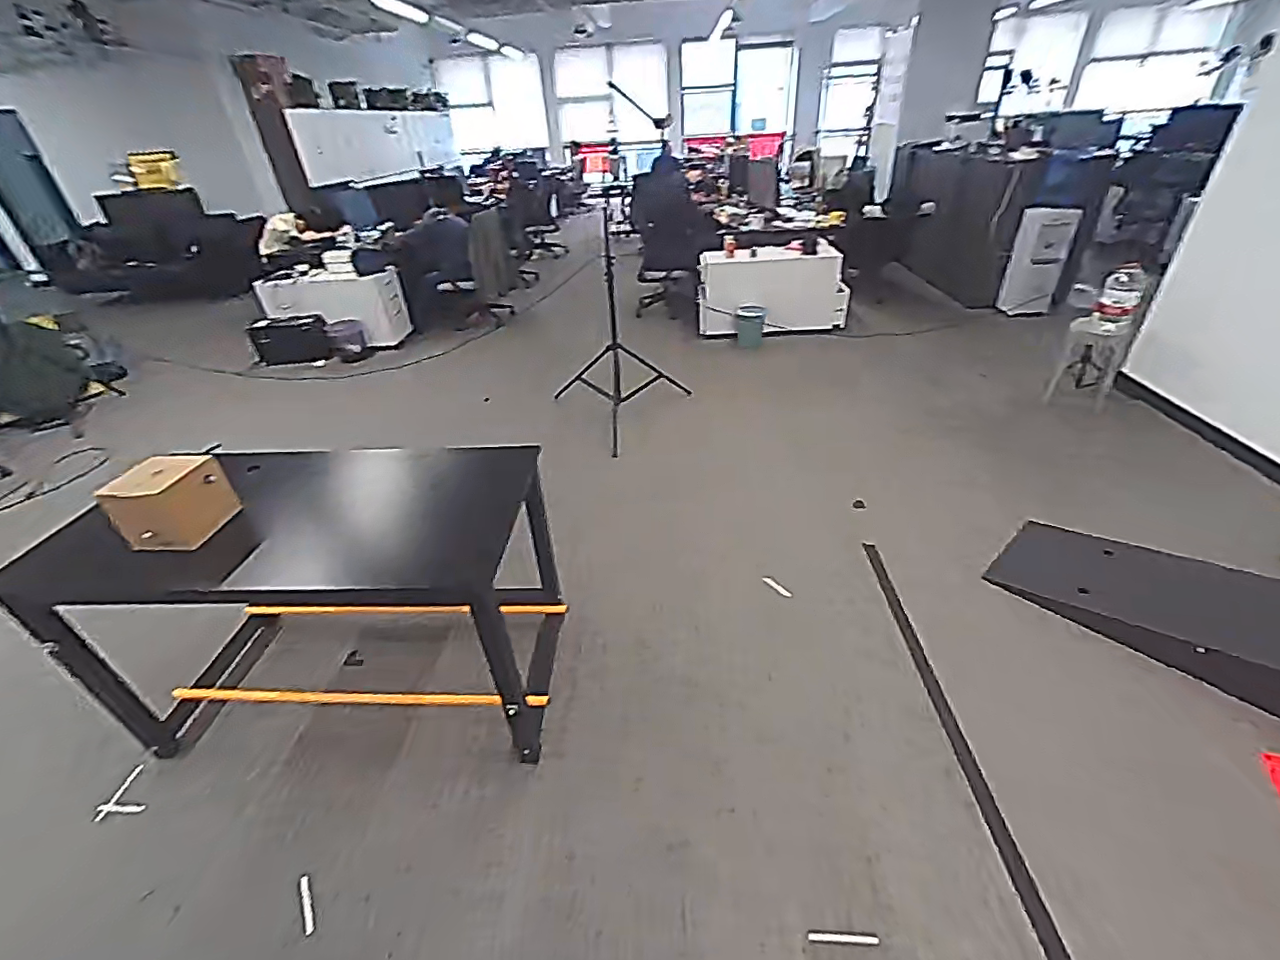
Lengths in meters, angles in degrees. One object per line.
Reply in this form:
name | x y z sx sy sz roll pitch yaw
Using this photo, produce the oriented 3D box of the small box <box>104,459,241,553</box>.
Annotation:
small box | -1.152 0.062 1.355 0.168 0.176 0.179 -1 34 6
